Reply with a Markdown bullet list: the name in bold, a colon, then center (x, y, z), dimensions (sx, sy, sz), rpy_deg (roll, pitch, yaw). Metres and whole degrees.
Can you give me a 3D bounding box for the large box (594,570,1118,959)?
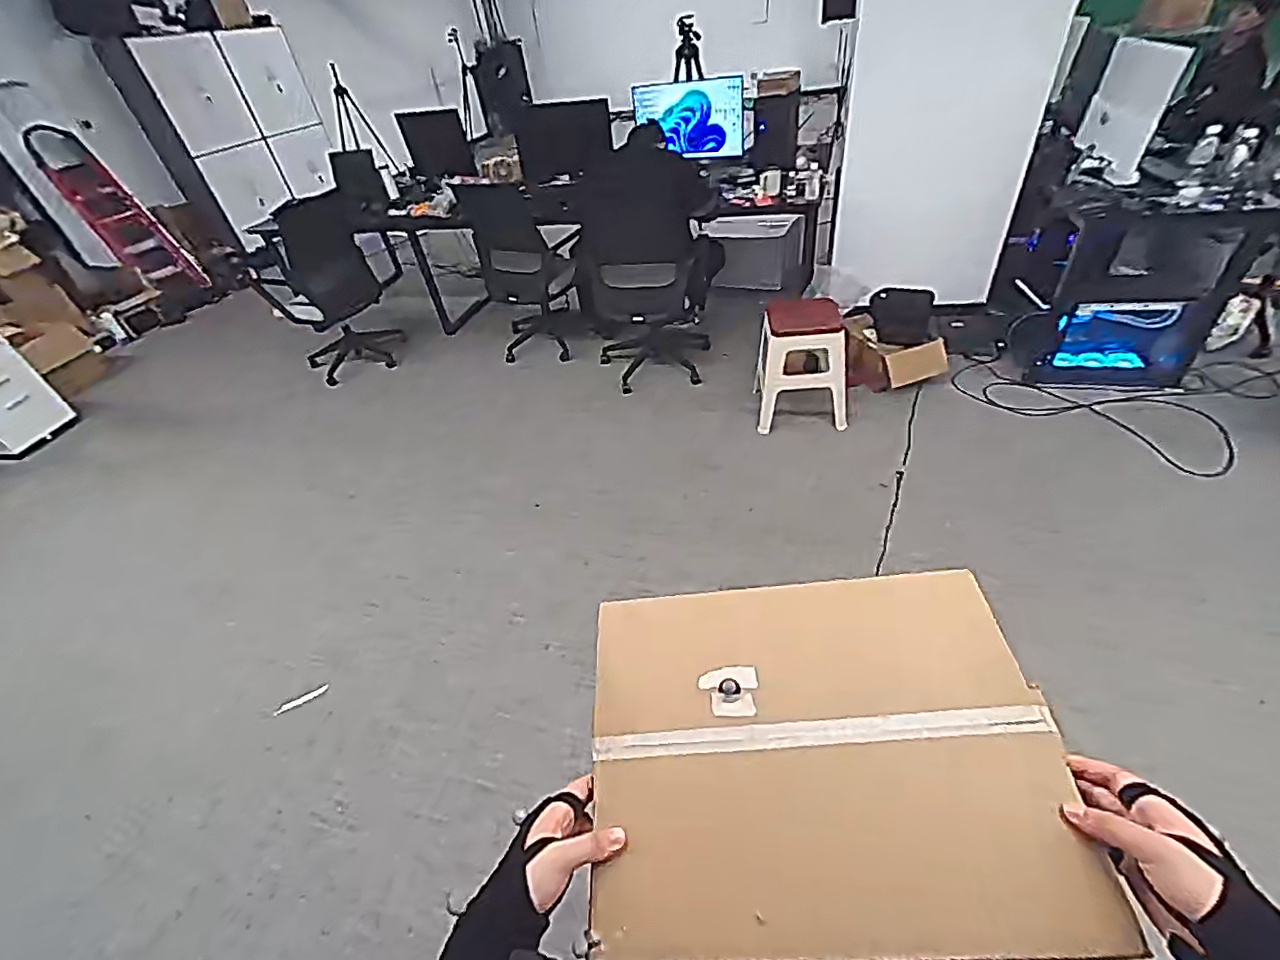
- **large box**: center (0.181, 0.337, 0.624), dimensions (0.408, 0.320, 0.320), rpy_deg (-8, 47, 7)
